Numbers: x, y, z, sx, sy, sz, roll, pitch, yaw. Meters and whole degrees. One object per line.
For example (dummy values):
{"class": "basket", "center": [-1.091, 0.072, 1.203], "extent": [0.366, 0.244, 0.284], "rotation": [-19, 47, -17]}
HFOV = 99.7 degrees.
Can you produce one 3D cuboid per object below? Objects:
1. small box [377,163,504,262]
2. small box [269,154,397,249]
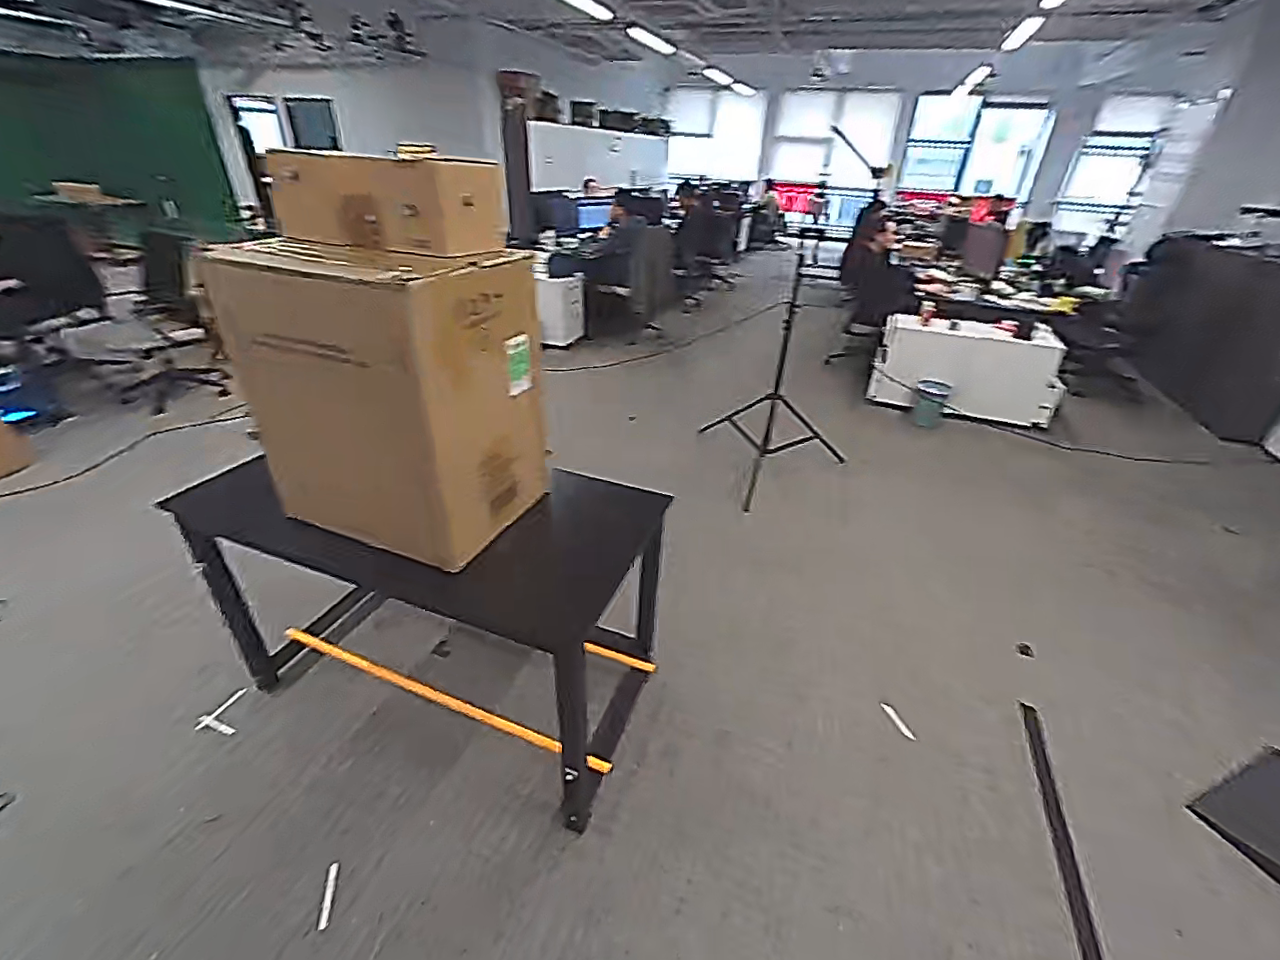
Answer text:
{"class": "small box", "center": [-0.395, -0.547, 1.104], "extent": [0.168, 0.176, 0.179], "rotation": [15, 32, 21]}
{"class": "small box", "center": [-0.657, -0.606, 1.182], "extent": [0.179, 0.176, 0.168], "rotation": [15, 32, 17]}
